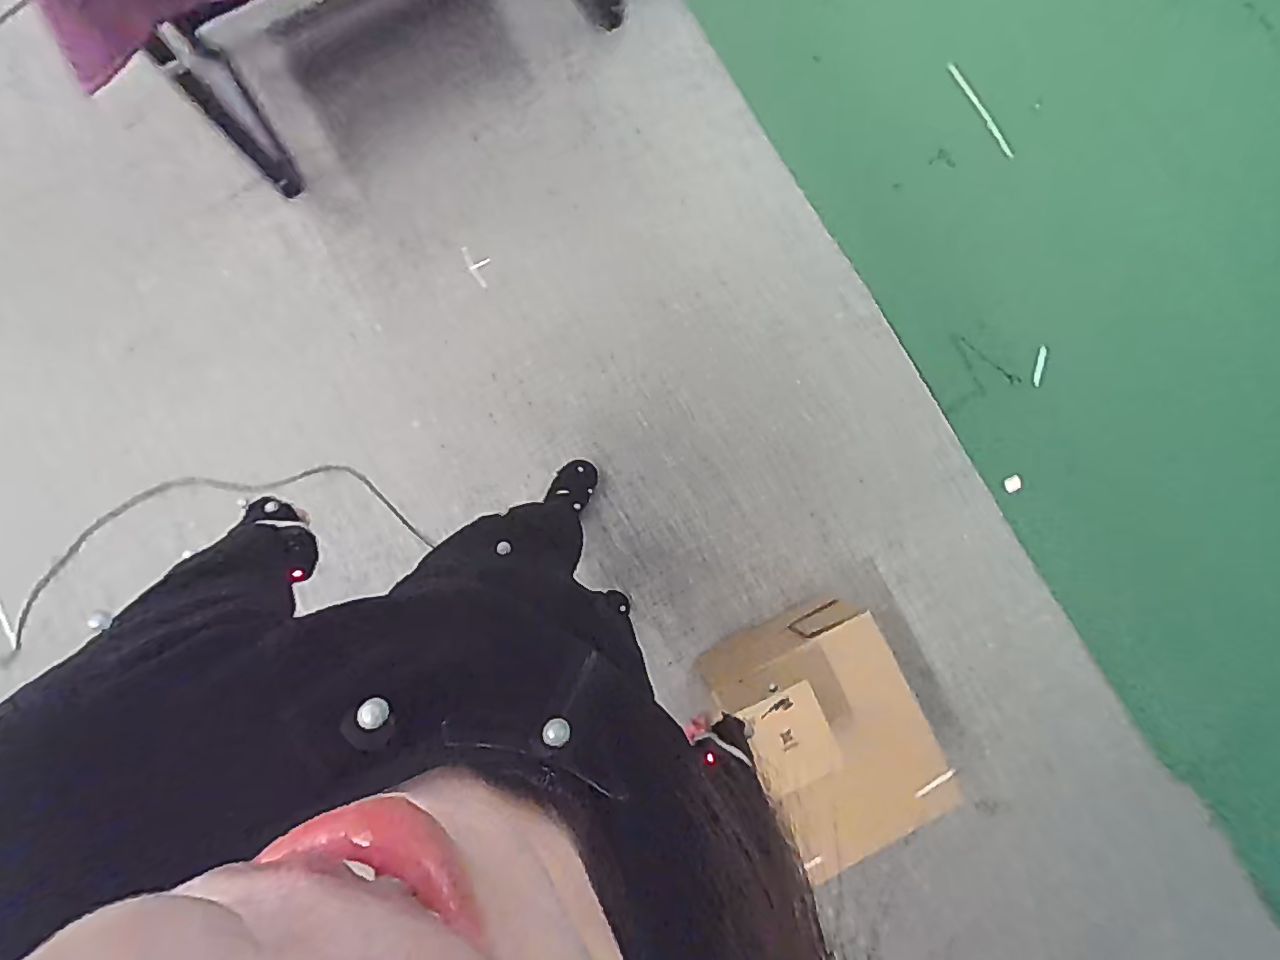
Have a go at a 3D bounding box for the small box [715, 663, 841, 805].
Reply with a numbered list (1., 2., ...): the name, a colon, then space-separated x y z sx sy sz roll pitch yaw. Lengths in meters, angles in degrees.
1. small box: 0.266 0.495 1.079 0.168 0.176 0.179 -22 86 -4
